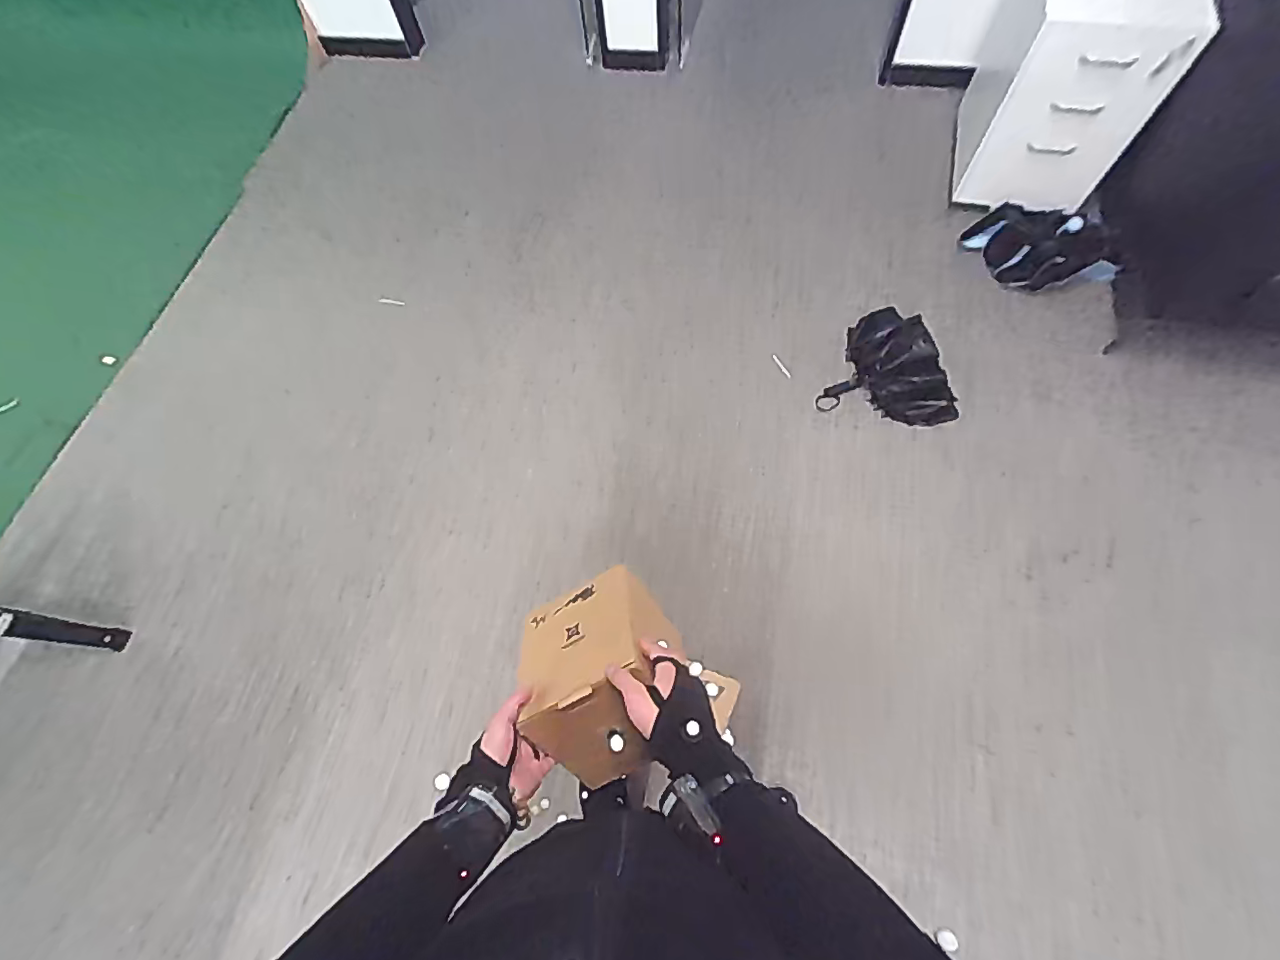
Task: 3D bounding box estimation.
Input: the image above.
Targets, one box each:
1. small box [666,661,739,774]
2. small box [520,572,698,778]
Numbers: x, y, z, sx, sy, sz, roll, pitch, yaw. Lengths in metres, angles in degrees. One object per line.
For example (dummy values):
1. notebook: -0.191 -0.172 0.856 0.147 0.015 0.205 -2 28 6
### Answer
1. small box: 0.097 0.496 1.155 0.168 0.176 0.179 21 70 14
2. small box: -0.040 0.264 0.718 0.168 0.176 0.179 -29 31 9
